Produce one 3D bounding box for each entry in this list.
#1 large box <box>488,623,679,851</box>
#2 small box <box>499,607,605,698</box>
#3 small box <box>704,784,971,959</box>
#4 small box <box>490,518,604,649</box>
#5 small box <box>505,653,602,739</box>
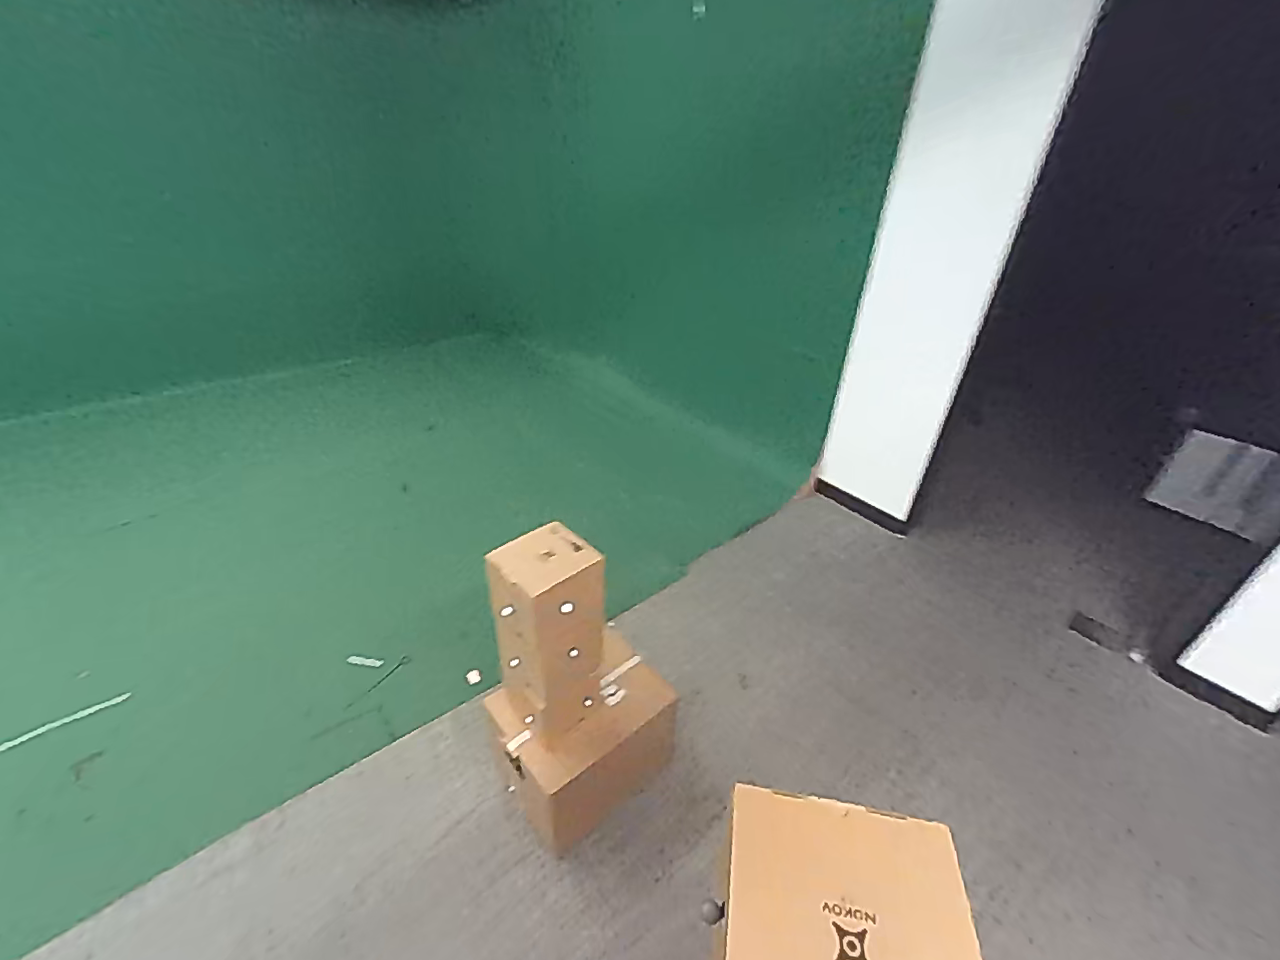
[{"bbox_3d":[-0.149,0.678,1.470,0.408,0.320,0.320,-23,41,-34],"label":"large box"},{"bbox_3d":[-0.193,0.352,1.221,0.168,0.176,0.179,31,42,35],"label":"small box"},{"bbox_3d":[0.135,0.371,0.406,0.168,0.176,0.179,6,34,8],"label":"small box"},{"bbox_3d":[-0.186,0.216,1.129,0.179,0.176,0.168,-26,43,-36],"label":"small box"},{"bbox_3d":[-0.205,0.490,1.308,0.168,0.176,0.179,-24,41,-35],"label":"small box"}]
